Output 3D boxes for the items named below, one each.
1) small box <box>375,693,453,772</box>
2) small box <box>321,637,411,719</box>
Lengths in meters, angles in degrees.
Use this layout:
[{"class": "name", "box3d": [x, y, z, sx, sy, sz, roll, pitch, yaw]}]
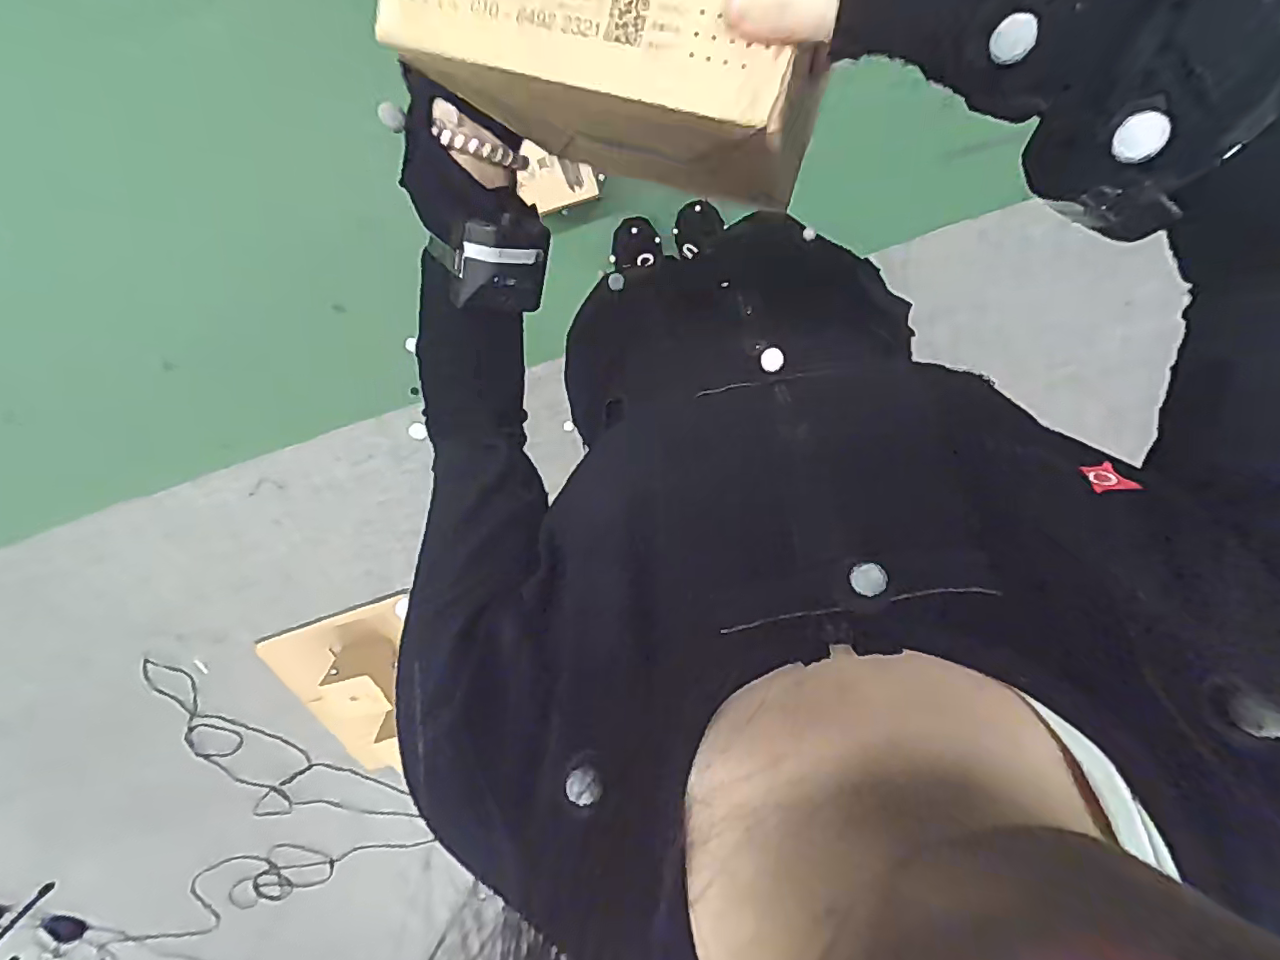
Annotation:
[{"class": "small box", "box3d": [-0.775, 0.874, 1.886, 0.179, 0.176, 0.168, -21, 115, 9]}, {"class": "small box", "box3d": [-0.890, 0.646, 1.771, 0.179, 0.176, 0.168, -16, 117, 5]}]
